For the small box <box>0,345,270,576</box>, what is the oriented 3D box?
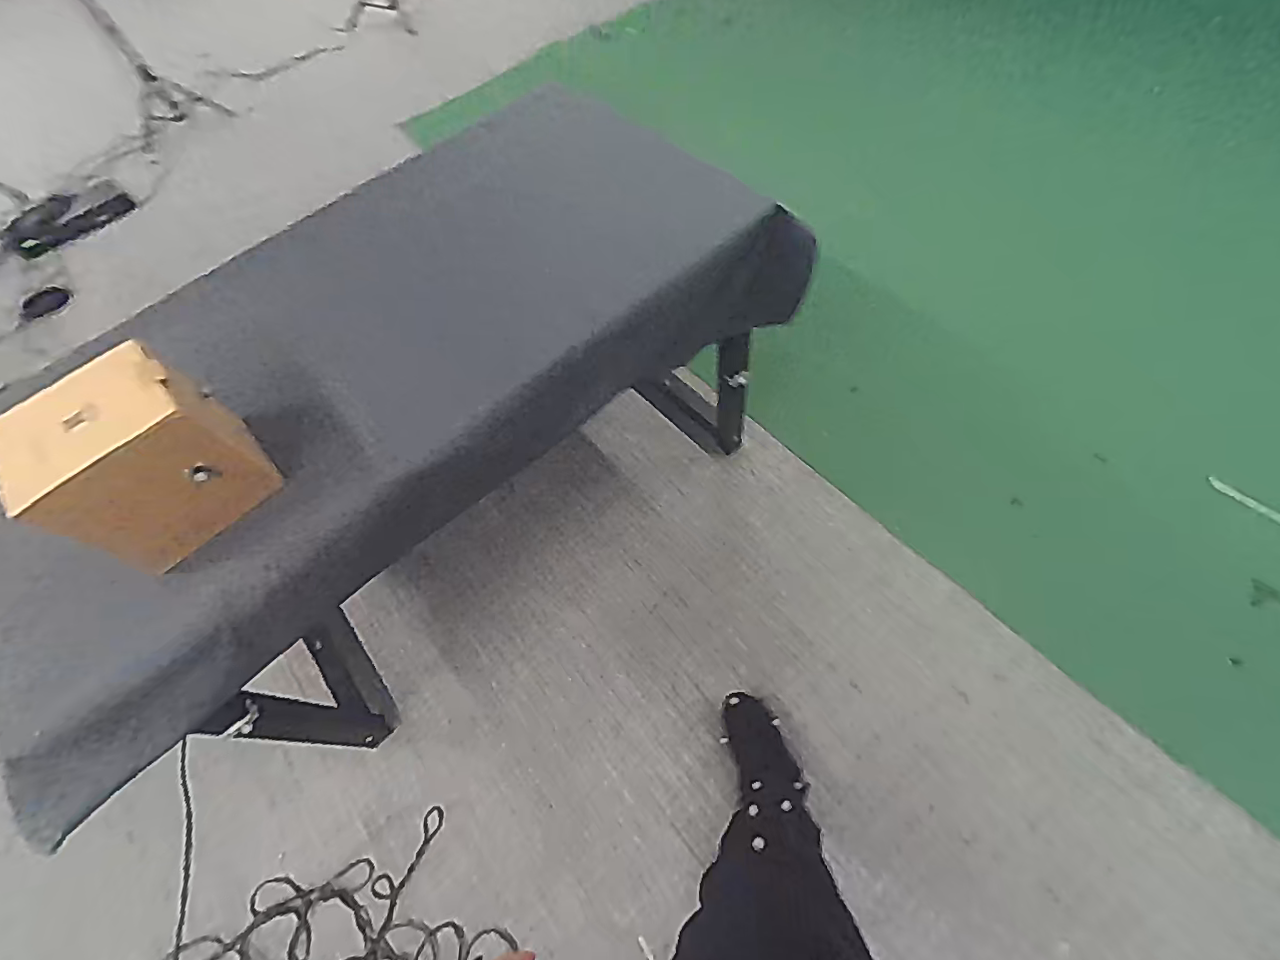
[{"bbox_3d":[-0.589,-0.018,0.646,0.168,0.176,0.179,39,72,26],"label":"small box"}]
